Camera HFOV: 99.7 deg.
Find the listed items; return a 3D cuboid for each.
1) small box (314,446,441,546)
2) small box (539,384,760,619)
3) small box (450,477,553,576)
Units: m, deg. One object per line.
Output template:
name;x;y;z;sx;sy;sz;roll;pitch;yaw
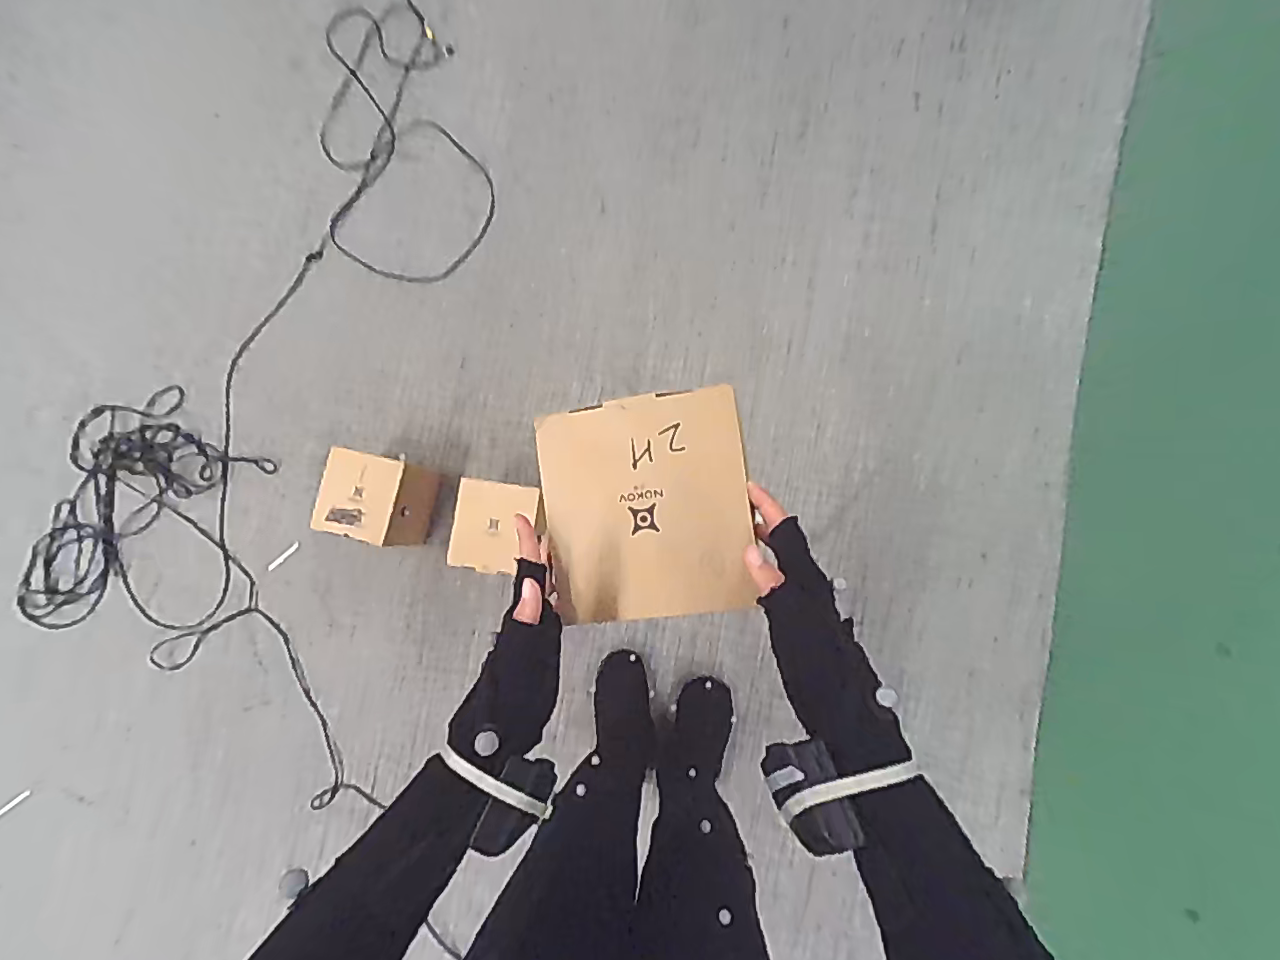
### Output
small box;-0.560;0.039;1.177;0.168;0.176;0.179;13;85;7
small box;0.021;0.019;0.509;0.168;0.176;0.179;-7;89;11
small box;-0.276;0.098;1.144;0.168;0.176;0.179;8;86;7
